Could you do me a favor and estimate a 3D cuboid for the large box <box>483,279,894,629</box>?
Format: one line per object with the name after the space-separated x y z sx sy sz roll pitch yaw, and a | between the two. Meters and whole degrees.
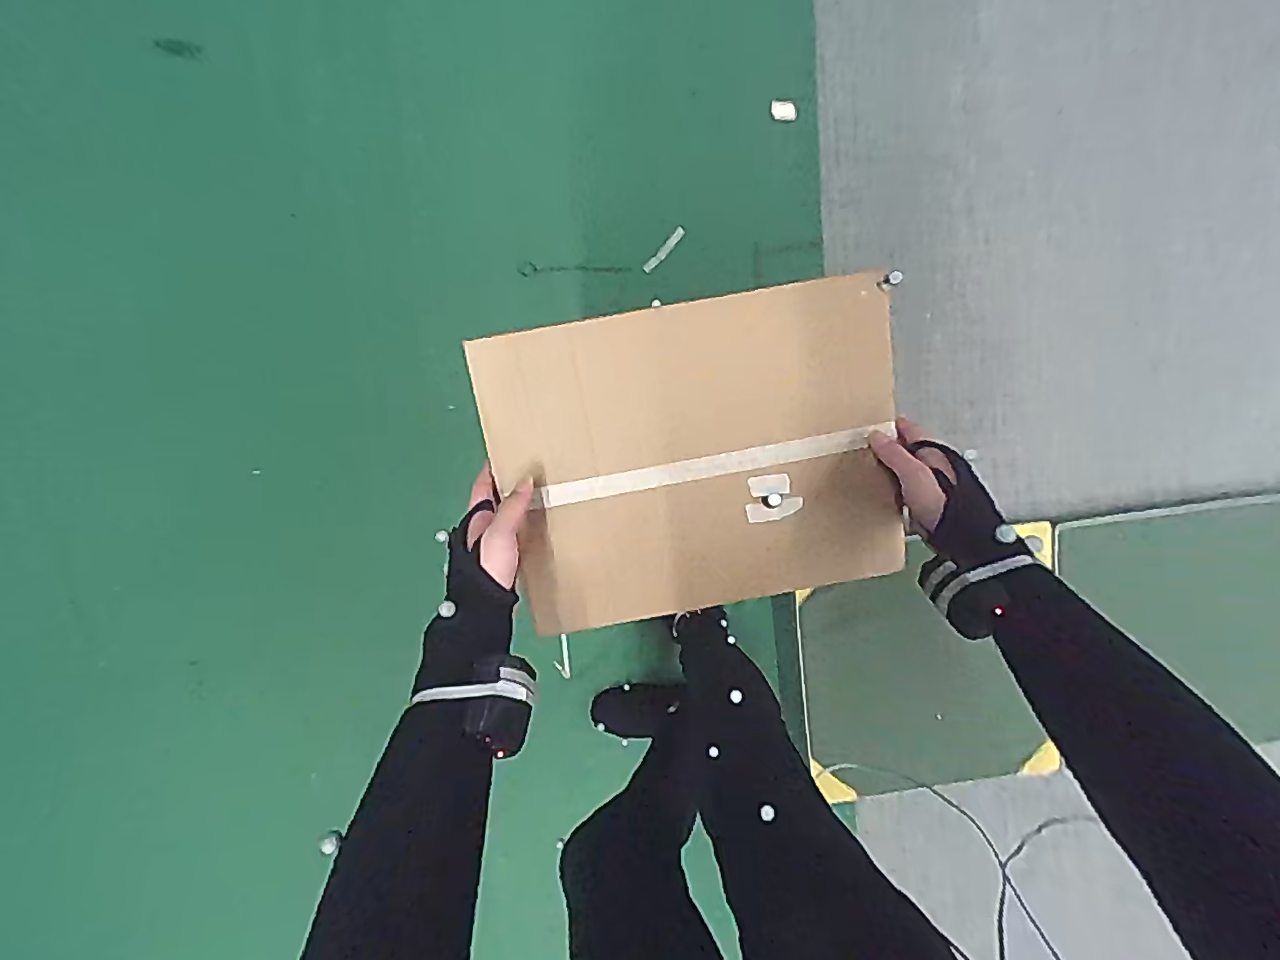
0.054 -0.049 0.711 0.408 0.320 0.320 -10 104 -2 | large box
